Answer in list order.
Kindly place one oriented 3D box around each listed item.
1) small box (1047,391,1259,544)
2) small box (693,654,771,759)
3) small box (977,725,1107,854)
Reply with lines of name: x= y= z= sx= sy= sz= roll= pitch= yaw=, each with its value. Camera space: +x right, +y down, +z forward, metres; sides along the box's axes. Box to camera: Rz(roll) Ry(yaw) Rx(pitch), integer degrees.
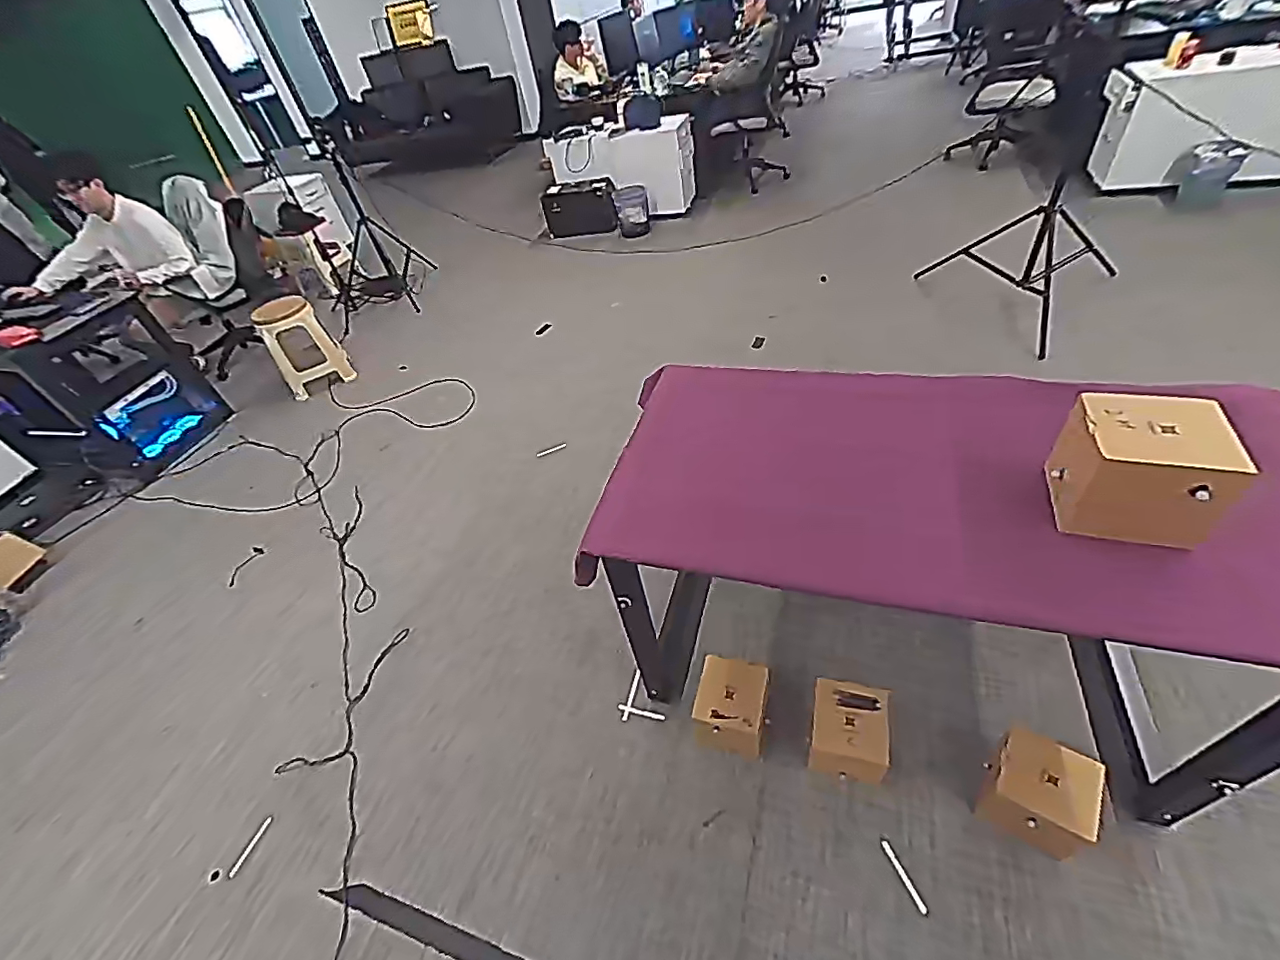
small box: x=0.784 y=-0.019 z=0.853 sx=0.179 sy=0.176 sz=0.168 roll=7 pitch=46 yaw=21
small box: x=0.243 y=0.591 z=1.412 sx=0.168 sy=0.176 sz=0.179 roll=8 pitch=46 yaw=20
small box: x=0.869 y=0.678 z=1.179 sx=0.179 sy=0.176 sz=0.168 roll=20 pitch=53 yaw=31
